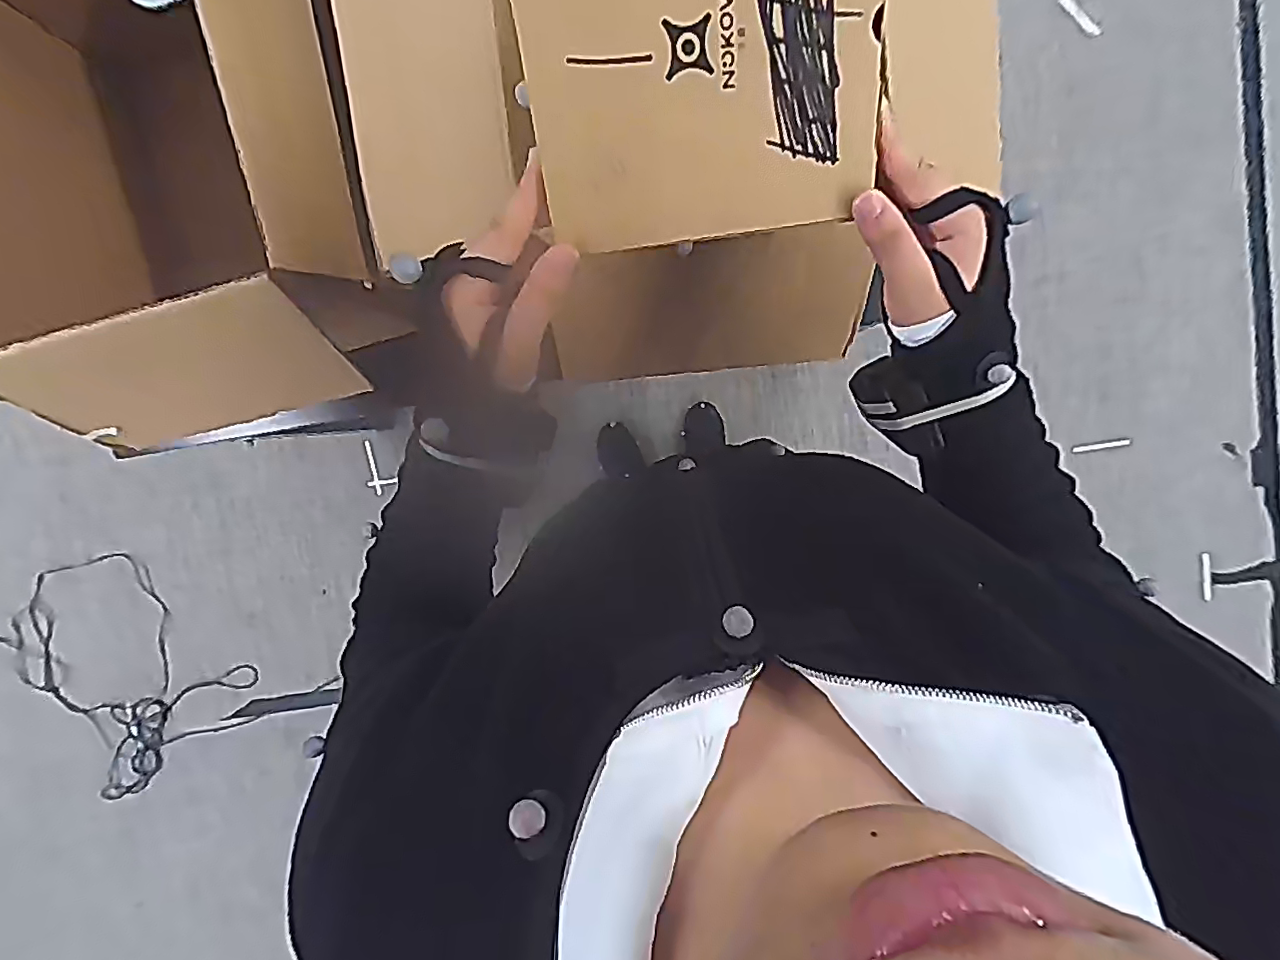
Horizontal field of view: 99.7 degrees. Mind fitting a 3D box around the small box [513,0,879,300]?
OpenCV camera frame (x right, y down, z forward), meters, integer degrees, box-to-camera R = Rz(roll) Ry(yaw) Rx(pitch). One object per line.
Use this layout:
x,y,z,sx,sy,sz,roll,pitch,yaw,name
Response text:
0.028,-0.225,0.345,0.179,0.176,0.168,-7,119,1,small box
